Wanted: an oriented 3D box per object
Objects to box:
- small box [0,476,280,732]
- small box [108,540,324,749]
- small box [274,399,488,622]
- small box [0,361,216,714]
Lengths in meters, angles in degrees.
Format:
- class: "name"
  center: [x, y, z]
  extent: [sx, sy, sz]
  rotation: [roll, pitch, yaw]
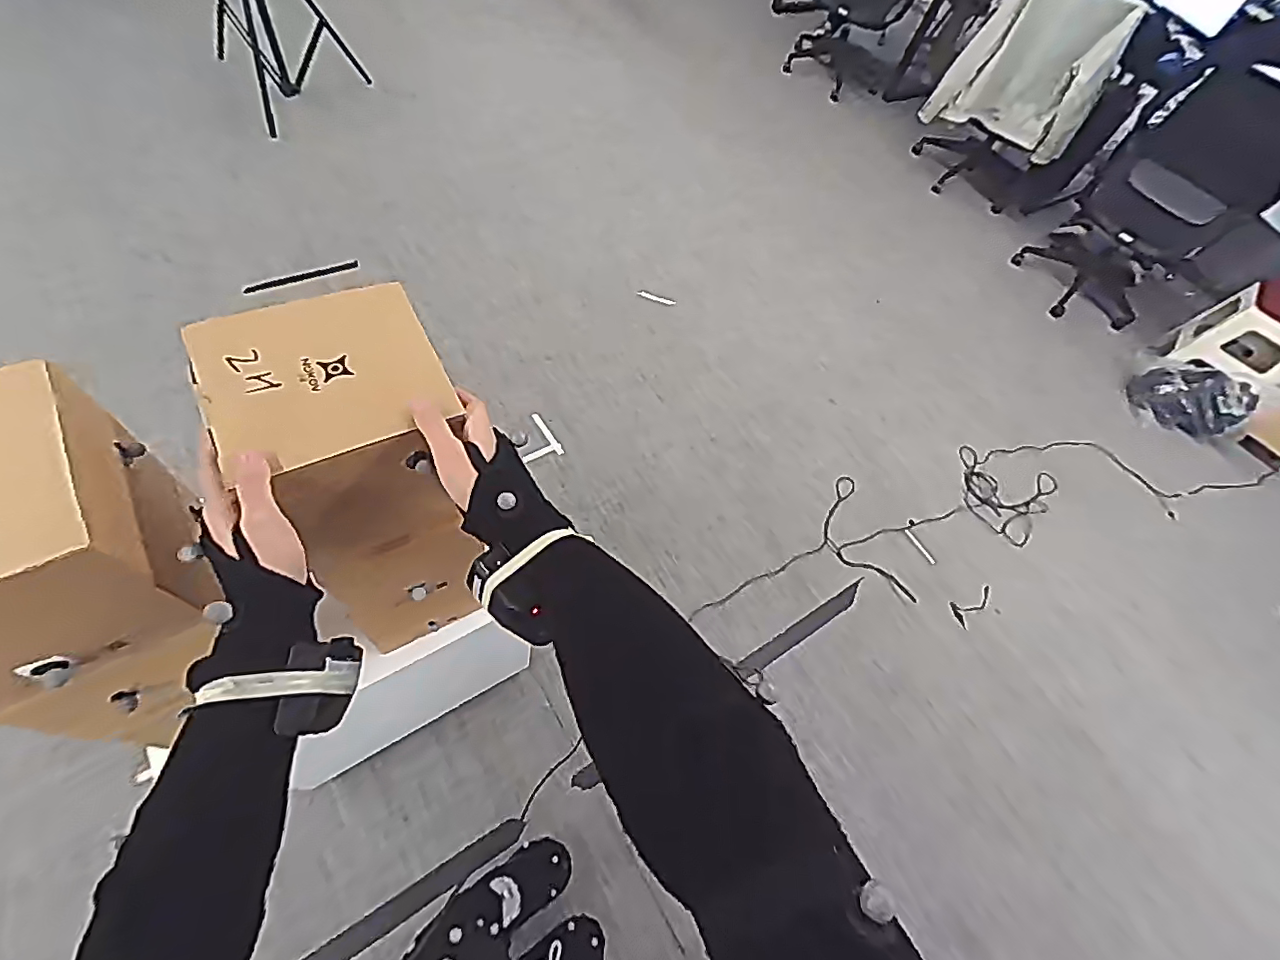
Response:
- class: "small box"
  center: [-0.500, 0.131, 0.543]
  extent: [0.168, 0.176, 0.179]
  rotation: [-26, 68, -25]
- class: "small box"
  center: [-0.533, 0.210, 0.682]
  extent: [0.168, 0.176, 0.179]
  rotation: [-25, 68, -24]
- class: "small box"
  center: [-0.293, 0.040, 0.640]
  extent: [0.168, 0.176, 0.179]
  rotation: [-24, 68, -22]
- class: "small box"
  center: [-0.470, 0.048, 0.406]
  extent: [0.168, 0.176, 0.179]
  rotation: [-27, 70, -24]
